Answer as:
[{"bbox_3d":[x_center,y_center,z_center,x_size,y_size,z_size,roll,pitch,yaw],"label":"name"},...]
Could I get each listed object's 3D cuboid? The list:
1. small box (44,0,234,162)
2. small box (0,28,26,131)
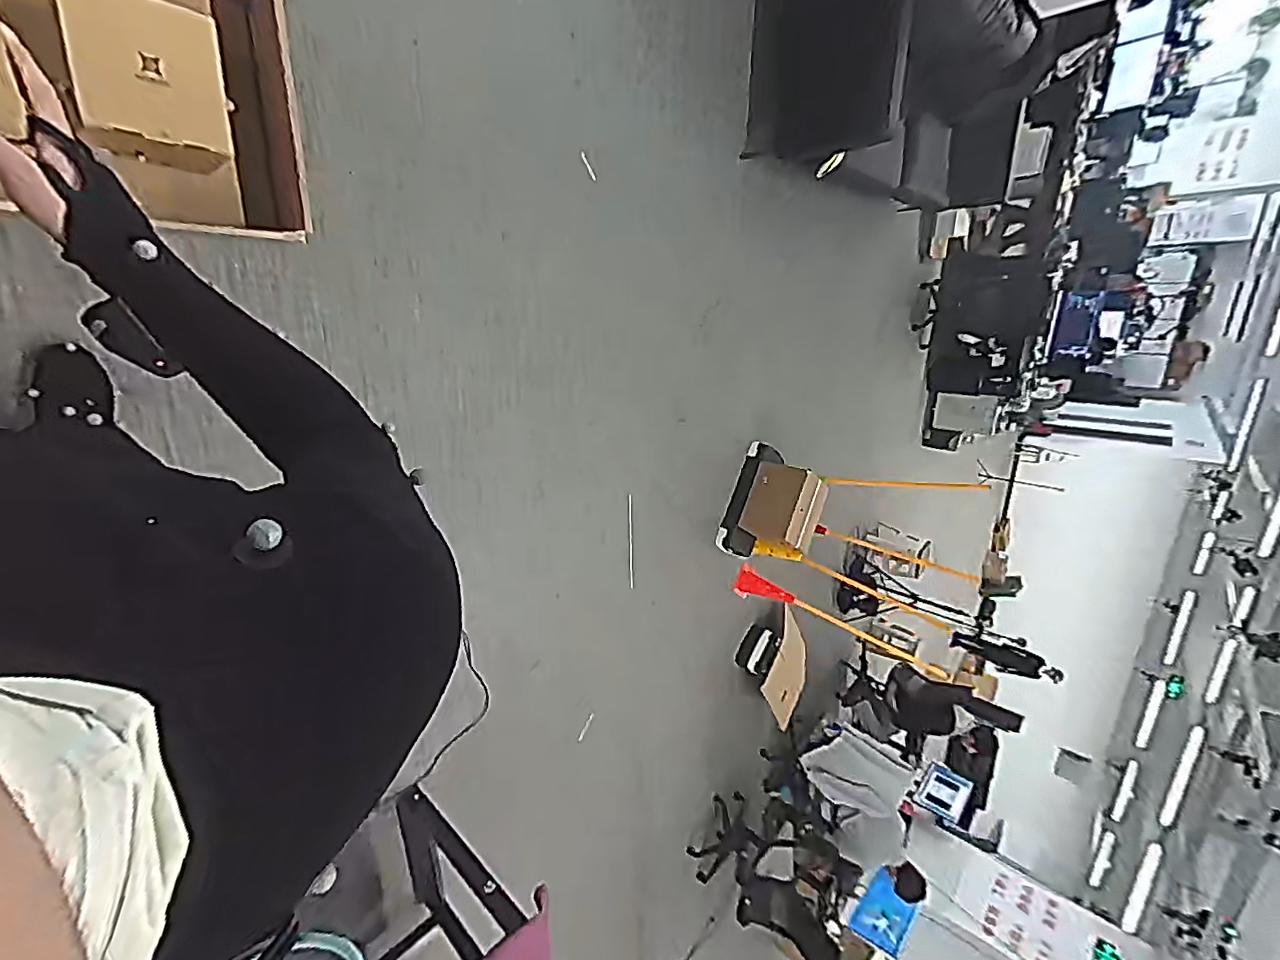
[{"bbox_3d":[-0.715,-0.583,0.775,0.168,0.176,0.179,-15,113,-46],"label":"small box"},{"bbox_3d":[-0.579,-0.352,0.374,0.179,0.176,0.168,-19,125,-44],"label":"small box"}]
